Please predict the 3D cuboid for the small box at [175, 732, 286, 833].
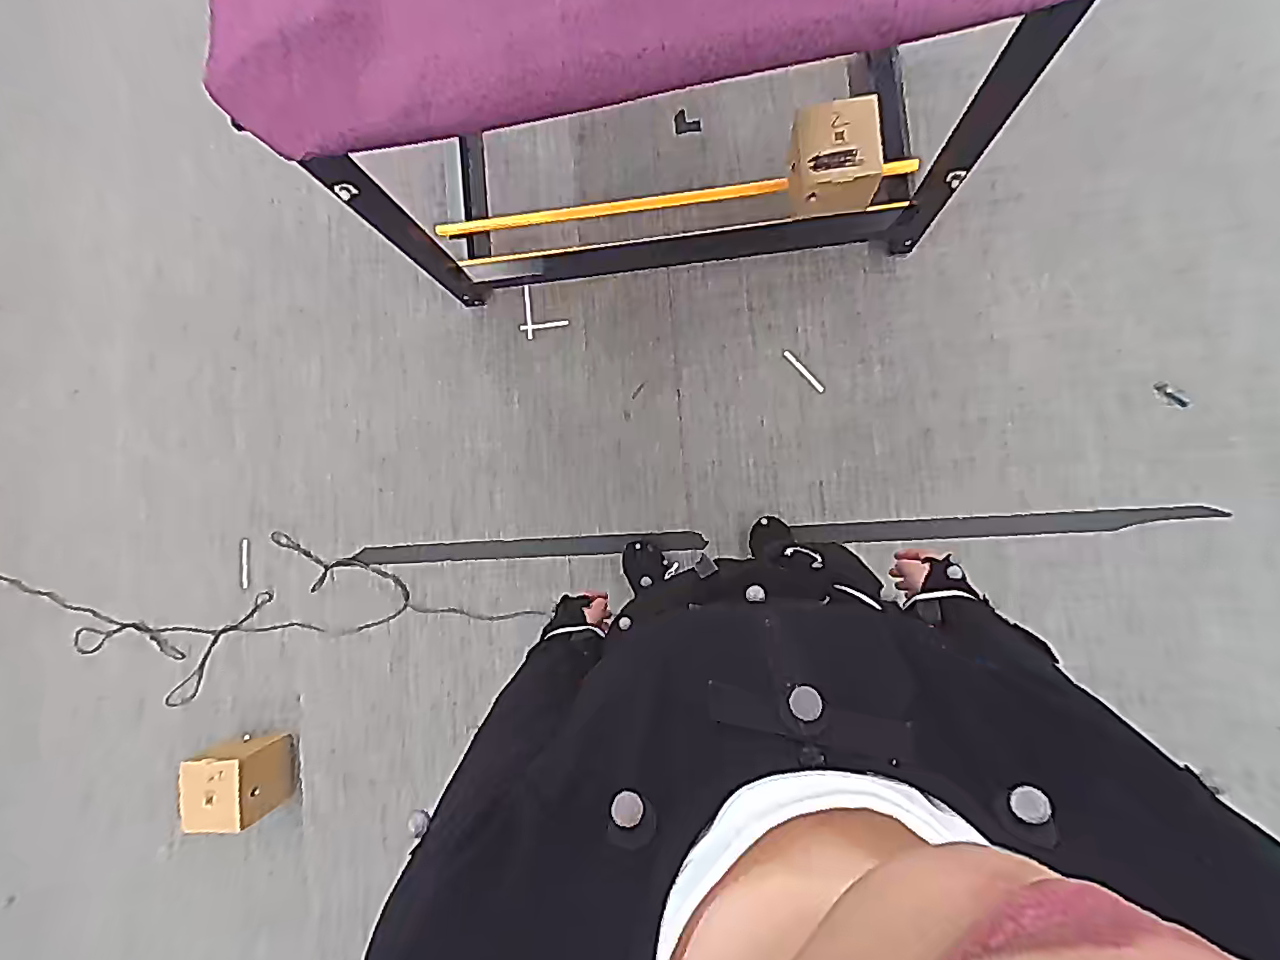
[{"bbox_3d":[-1.051,0.777,1.400,0.168,0.176,0.179,-4,86,6],"label":"small box"}]
